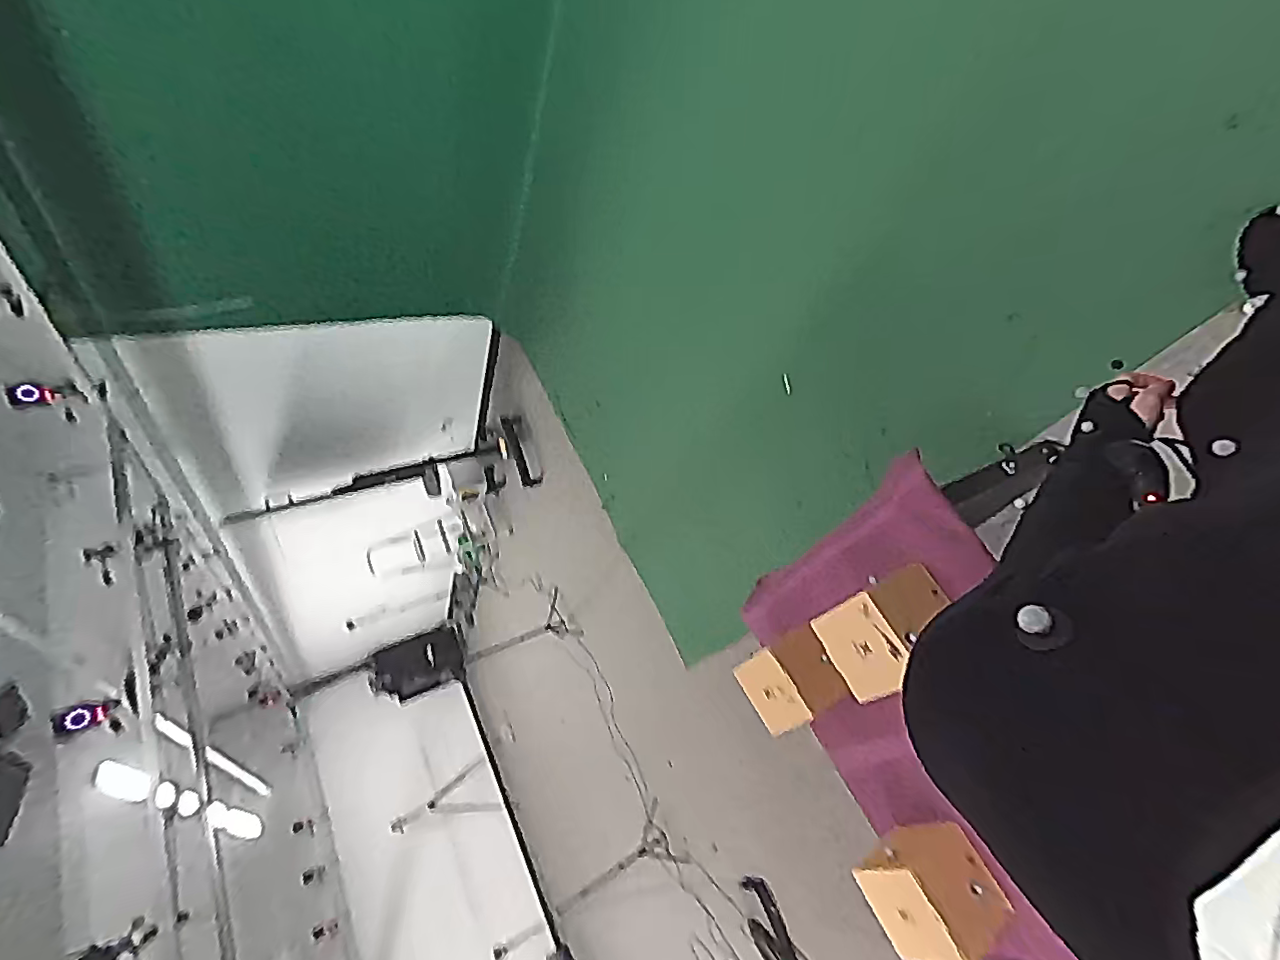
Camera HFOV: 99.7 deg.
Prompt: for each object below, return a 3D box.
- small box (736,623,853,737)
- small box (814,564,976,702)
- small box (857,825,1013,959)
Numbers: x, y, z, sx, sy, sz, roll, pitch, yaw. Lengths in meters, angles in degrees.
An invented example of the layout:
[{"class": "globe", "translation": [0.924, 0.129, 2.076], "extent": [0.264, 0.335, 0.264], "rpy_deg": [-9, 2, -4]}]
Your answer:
[{"class": "small box", "translation": [0.360, 0.458, 1.246], "extent": [0.168, 0.176, 0.179], "rpy_deg": [56, 143, 22]}, {"class": "small box", "translation": [0.469, 0.282, 1.003], "extent": [0.168, 0.176, 0.179], "rpy_deg": [59, 147, 21]}, {"class": "small box", "translation": [0.580, 0.814, 1.066], "extent": [0.168, 0.176, 0.179], "rpy_deg": [60, 144, 23]}]
